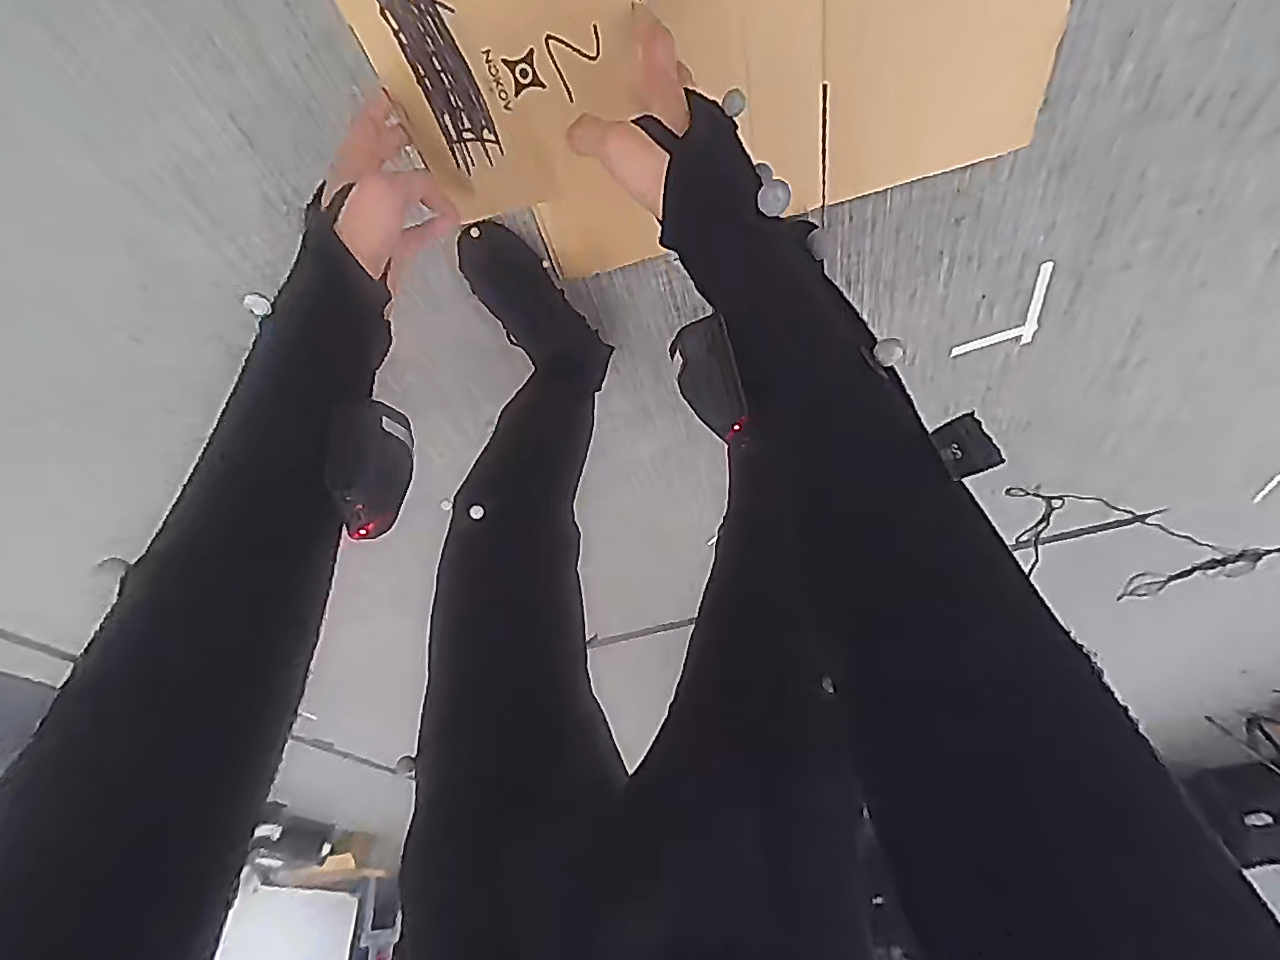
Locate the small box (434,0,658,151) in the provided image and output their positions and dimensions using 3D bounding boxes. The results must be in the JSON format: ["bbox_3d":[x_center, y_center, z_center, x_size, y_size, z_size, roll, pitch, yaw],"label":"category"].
[{"bbox_3d":[-0.092,-0.463,0.532,0.179,0.176,0.168,-13,138,7],"label":"small box"}]
